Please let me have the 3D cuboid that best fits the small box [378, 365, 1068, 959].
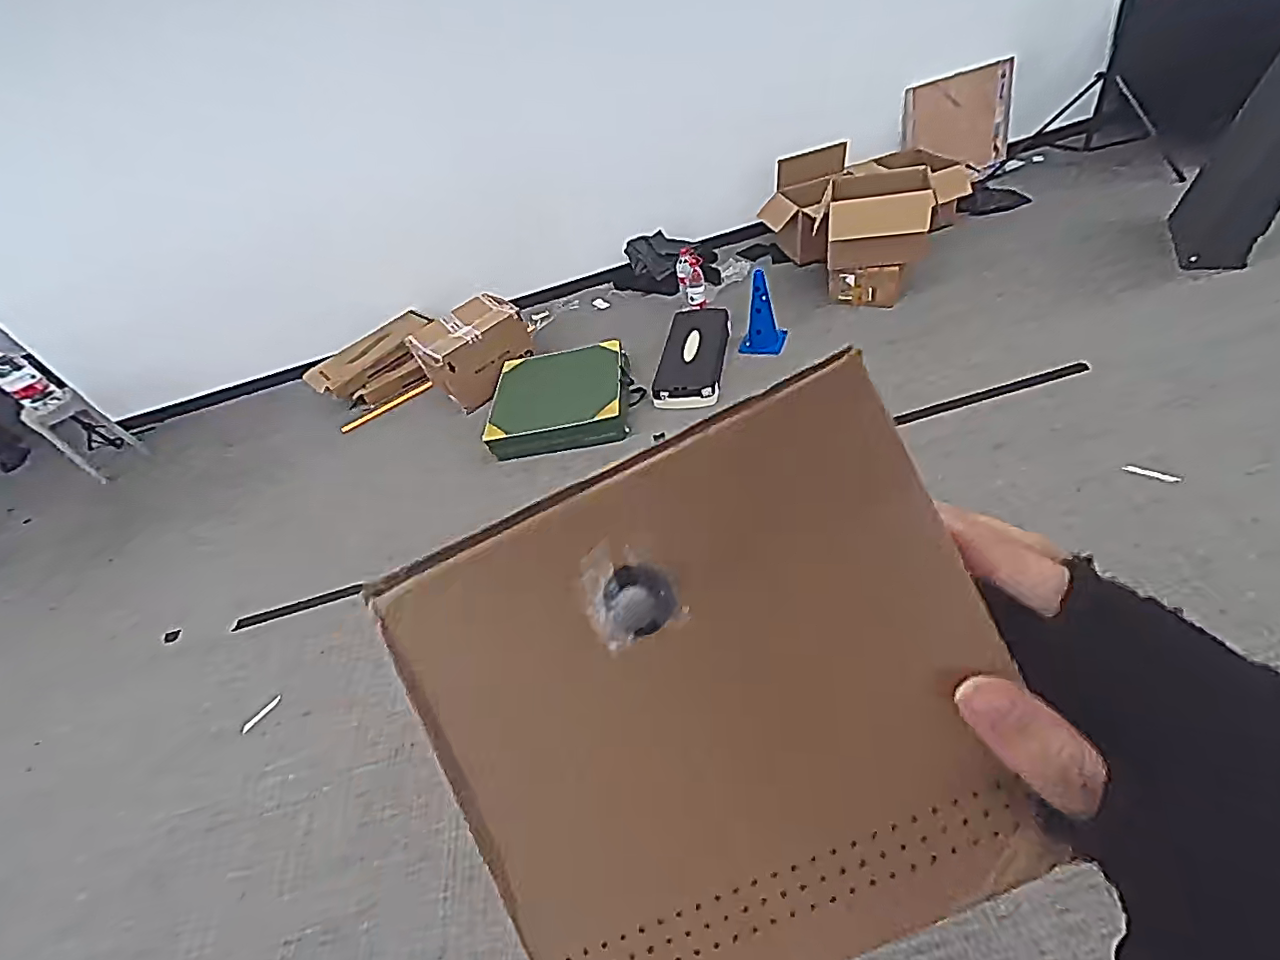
[{"bbox_3d":[0.031,0.075,0.247,0.179,0.168,0.176,-26,89,4],"label":"small box"}]
